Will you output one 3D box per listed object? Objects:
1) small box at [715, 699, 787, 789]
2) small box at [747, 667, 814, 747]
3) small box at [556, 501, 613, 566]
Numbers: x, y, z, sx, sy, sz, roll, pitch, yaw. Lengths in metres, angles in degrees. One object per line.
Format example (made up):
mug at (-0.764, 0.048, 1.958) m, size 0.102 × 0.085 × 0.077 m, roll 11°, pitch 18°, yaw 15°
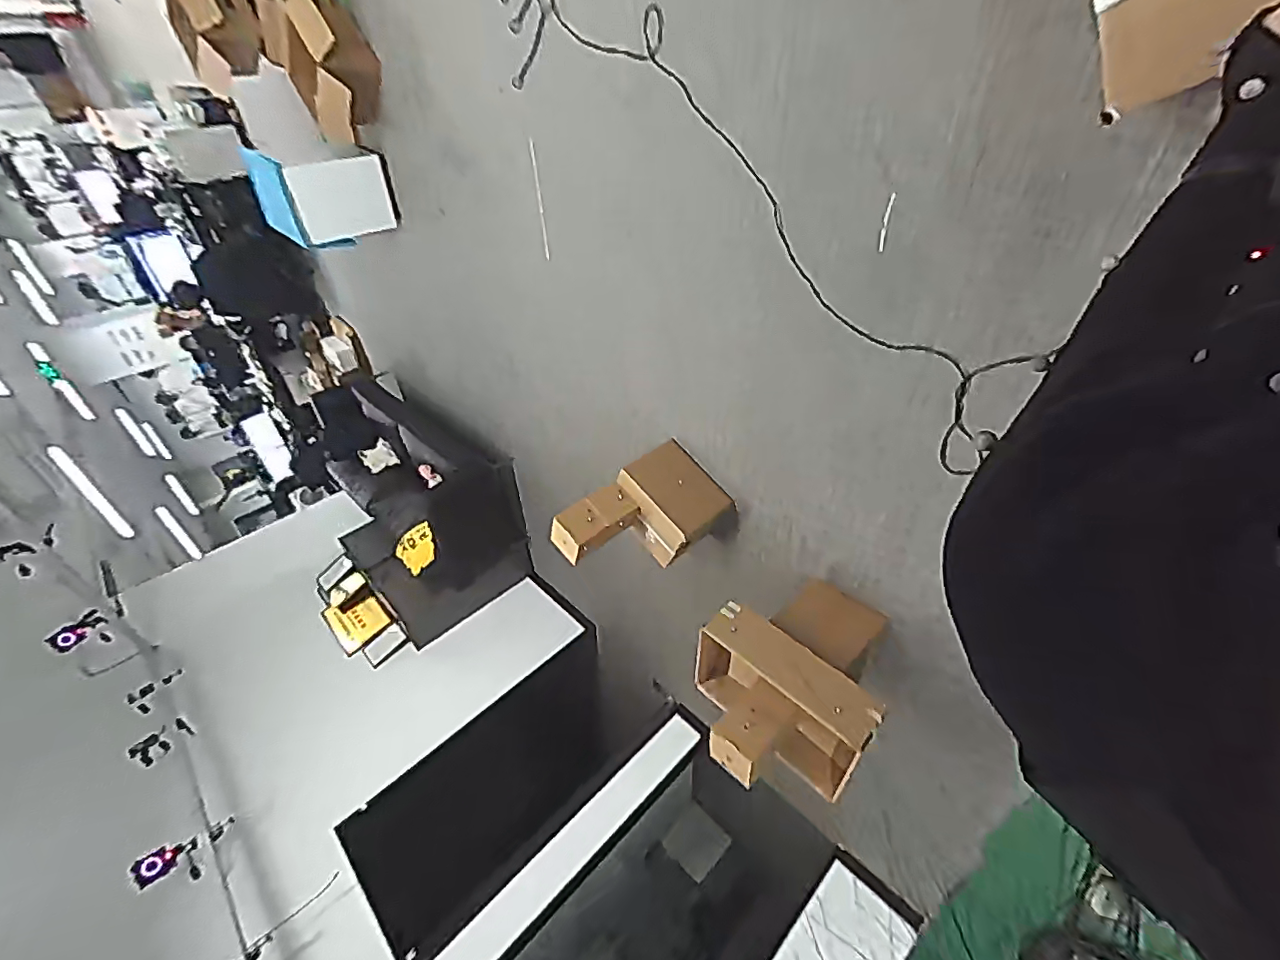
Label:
small box at (0.370, 0.871, 1.798) m, size 0.168 × 0.176 × 0.179 m, roll 30°, pitch 137°, yaw 37°
small box at (0.485, 0.797, 1.888) m, size 0.168 × 0.176 × 0.179 m, roll 31°, pitch 138°, yaw 35°
small box at (-0.233, 0.220, 2.265) m, size 0.168 × 0.176 × 0.179 m, roll 45°, pitch 146°, yaw 20°
